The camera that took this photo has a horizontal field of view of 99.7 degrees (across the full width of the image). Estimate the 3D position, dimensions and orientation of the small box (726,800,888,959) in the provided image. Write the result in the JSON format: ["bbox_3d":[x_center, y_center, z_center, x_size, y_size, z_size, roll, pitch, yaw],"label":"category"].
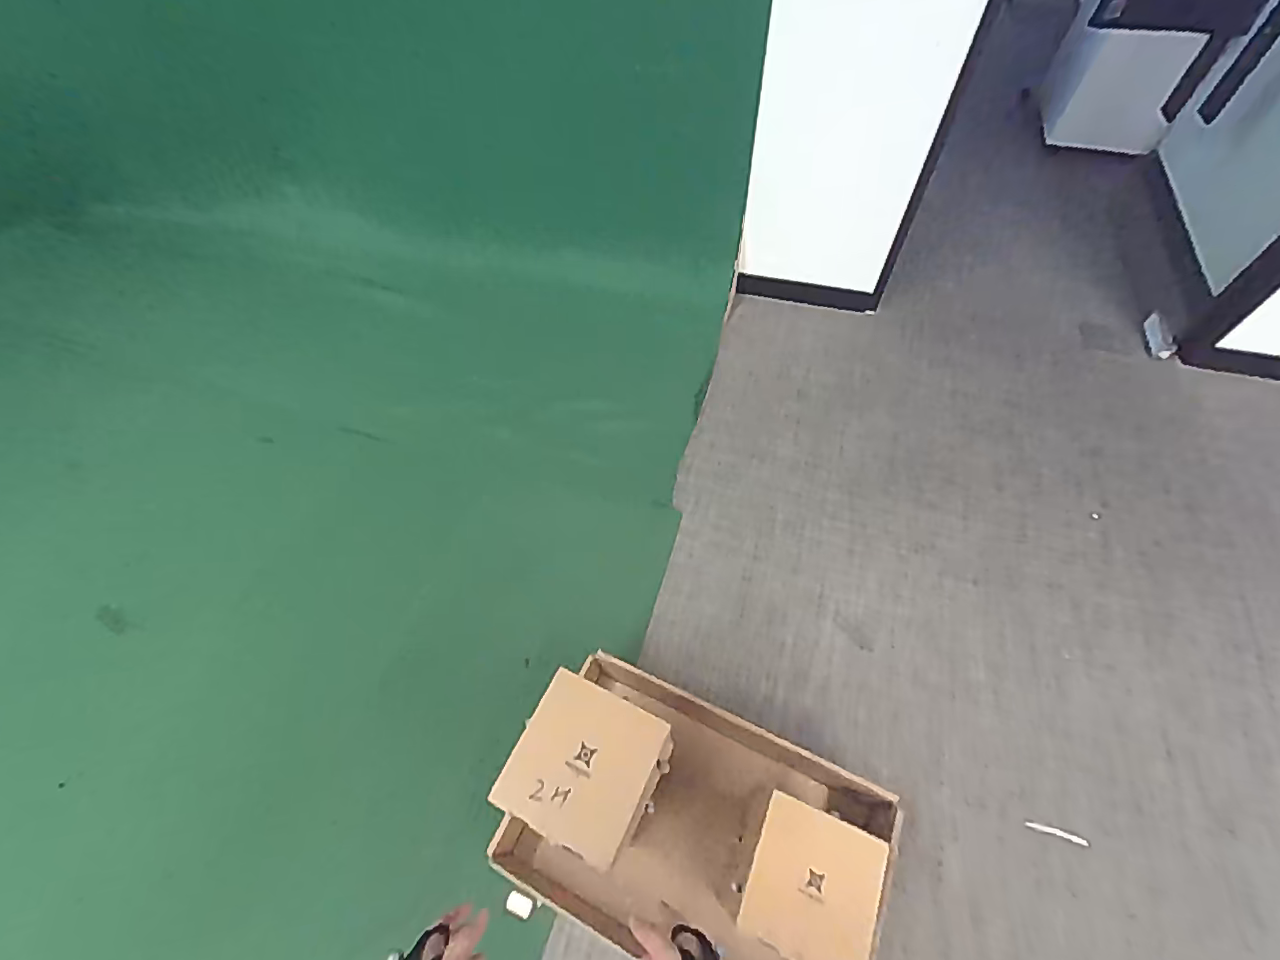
[{"bbox_3d":[0.231,0.593,0.779,0.168,0.176,0.179,20,61,15],"label":"small box"}]

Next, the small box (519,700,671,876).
[{"bbox_3d":[-0.064,0.484,0.862,0.168,0.176,0.179,25,62,16],"label":"small box"}]
